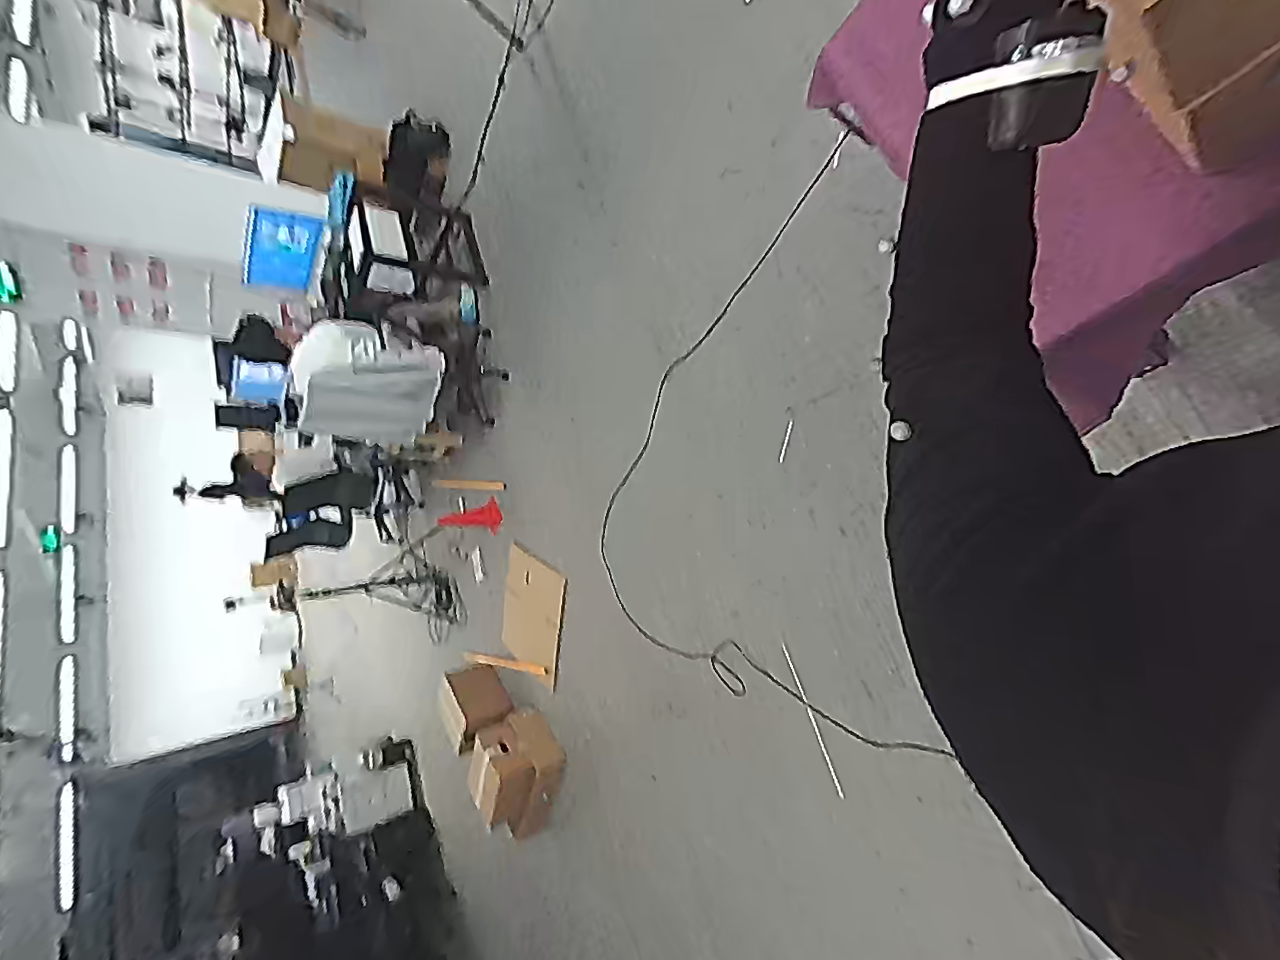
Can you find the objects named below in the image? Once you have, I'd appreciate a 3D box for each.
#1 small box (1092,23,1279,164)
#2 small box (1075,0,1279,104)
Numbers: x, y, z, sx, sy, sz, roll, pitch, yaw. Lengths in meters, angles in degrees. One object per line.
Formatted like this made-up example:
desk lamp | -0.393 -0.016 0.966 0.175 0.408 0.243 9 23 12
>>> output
small box | 0.544 -0.429 0.484 0.168 0.176 0.179 -36 65 45
small box | 0.420 -0.423 0.378 0.179 0.176 0.168 -35 66 46
